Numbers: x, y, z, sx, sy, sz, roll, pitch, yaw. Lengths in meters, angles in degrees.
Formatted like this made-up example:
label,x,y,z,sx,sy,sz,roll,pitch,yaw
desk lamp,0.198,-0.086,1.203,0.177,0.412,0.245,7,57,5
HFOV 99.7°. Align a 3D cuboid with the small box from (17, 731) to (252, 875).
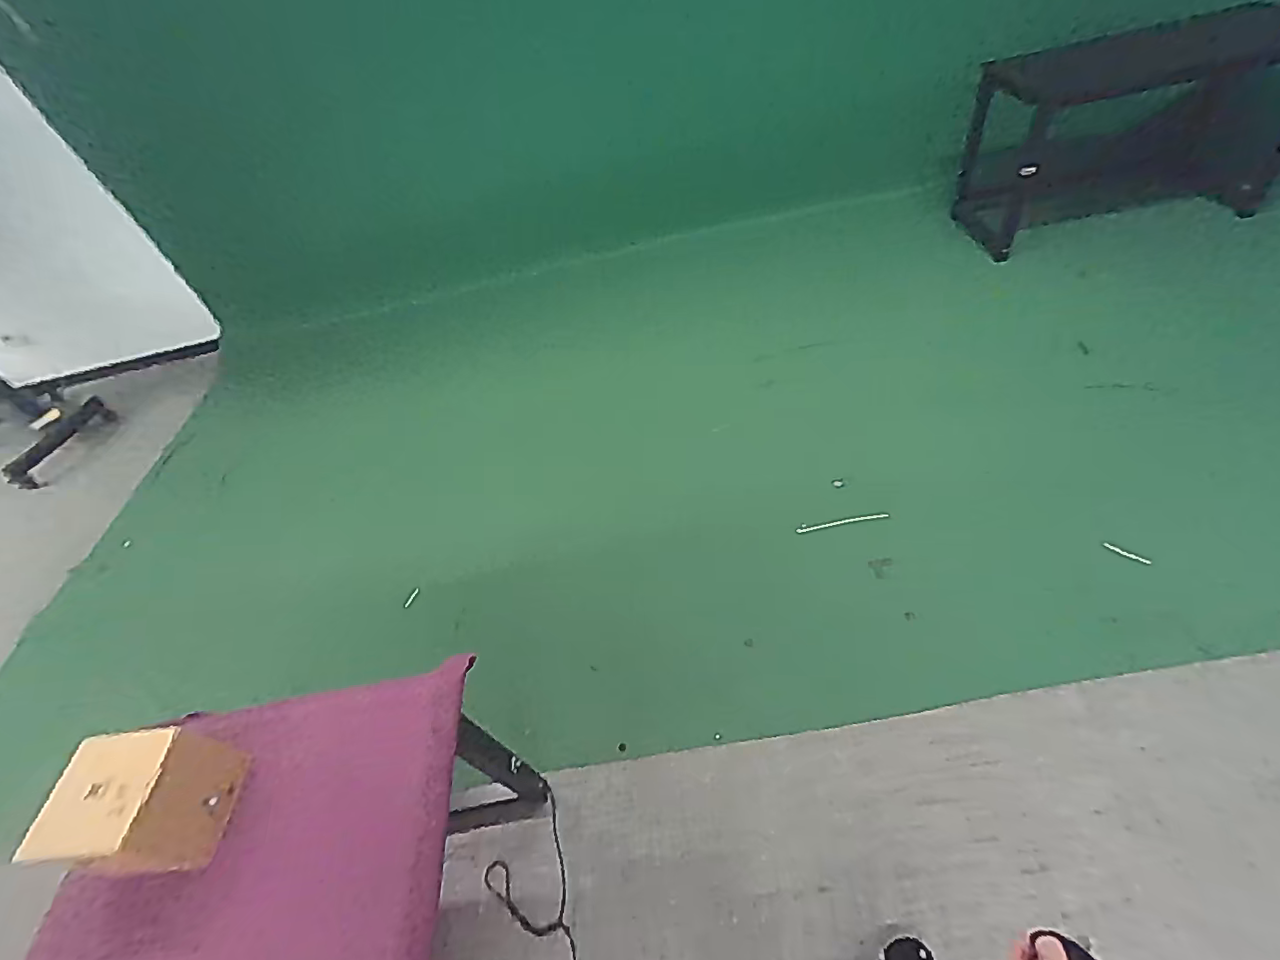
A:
label,x,y,z,sx,sy,sz,roll,pitch,yaw
small box,-0.784,0.519,0.864,0.179,0.176,0.168,-9,49,6
